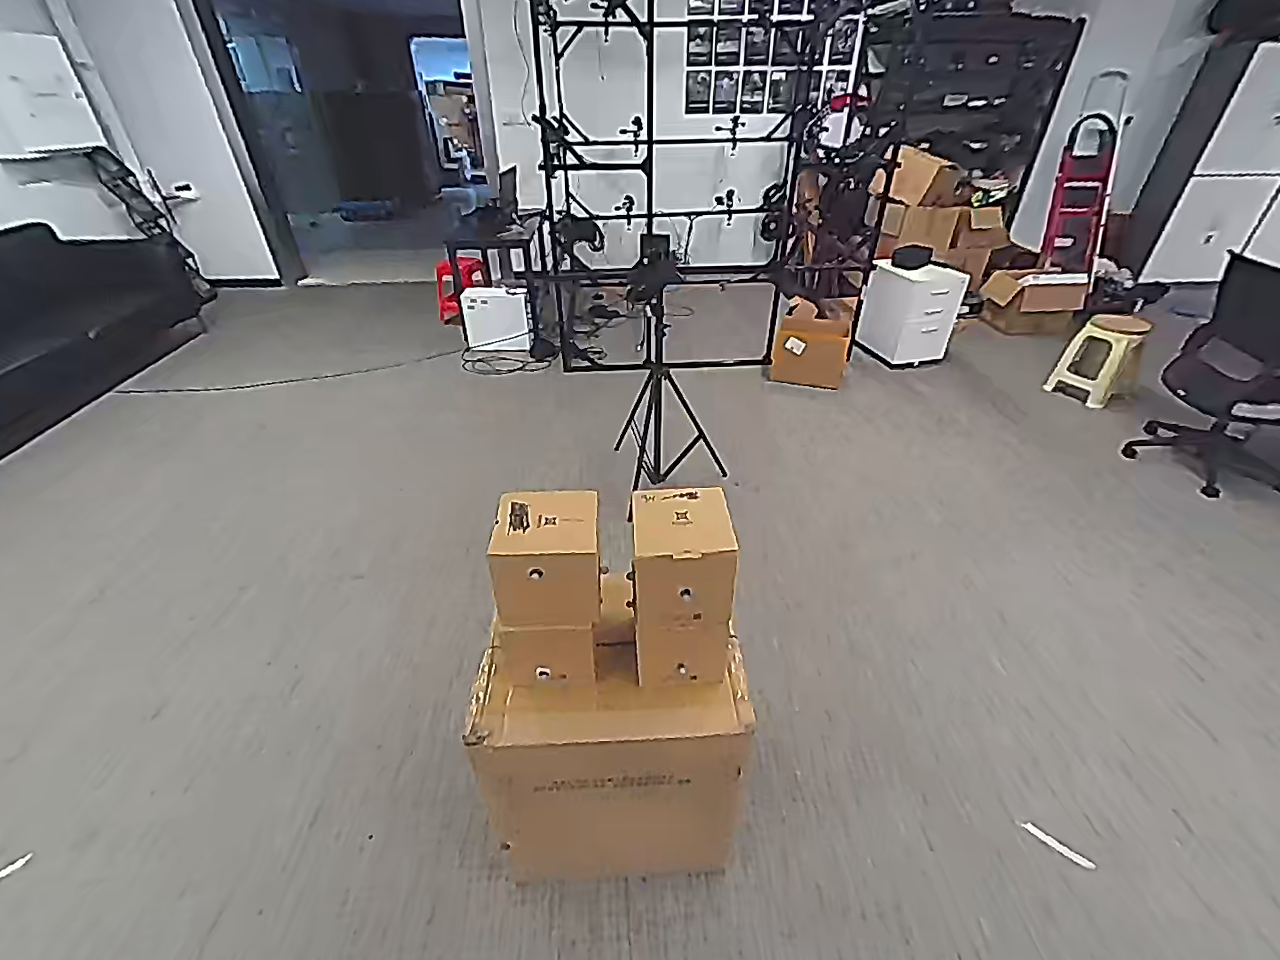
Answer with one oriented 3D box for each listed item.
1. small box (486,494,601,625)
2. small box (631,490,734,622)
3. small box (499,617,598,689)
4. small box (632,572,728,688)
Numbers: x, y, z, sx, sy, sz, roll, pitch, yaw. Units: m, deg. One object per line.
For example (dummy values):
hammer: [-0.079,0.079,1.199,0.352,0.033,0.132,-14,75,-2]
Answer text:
small box: [-0.162,0.142,0.965,0.179,0.176,0.168,-2,35,-3]
small box: [0.069,0.137,0.962,0.168,0.176,0.179,-2,36,-2]
small box: [-0.169,0.281,1.054,0.168,0.176,0.179,-3,36,-3]
small box: [0.070,0.276,1.053,0.168,0.176,0.179,-4,35,-2]
